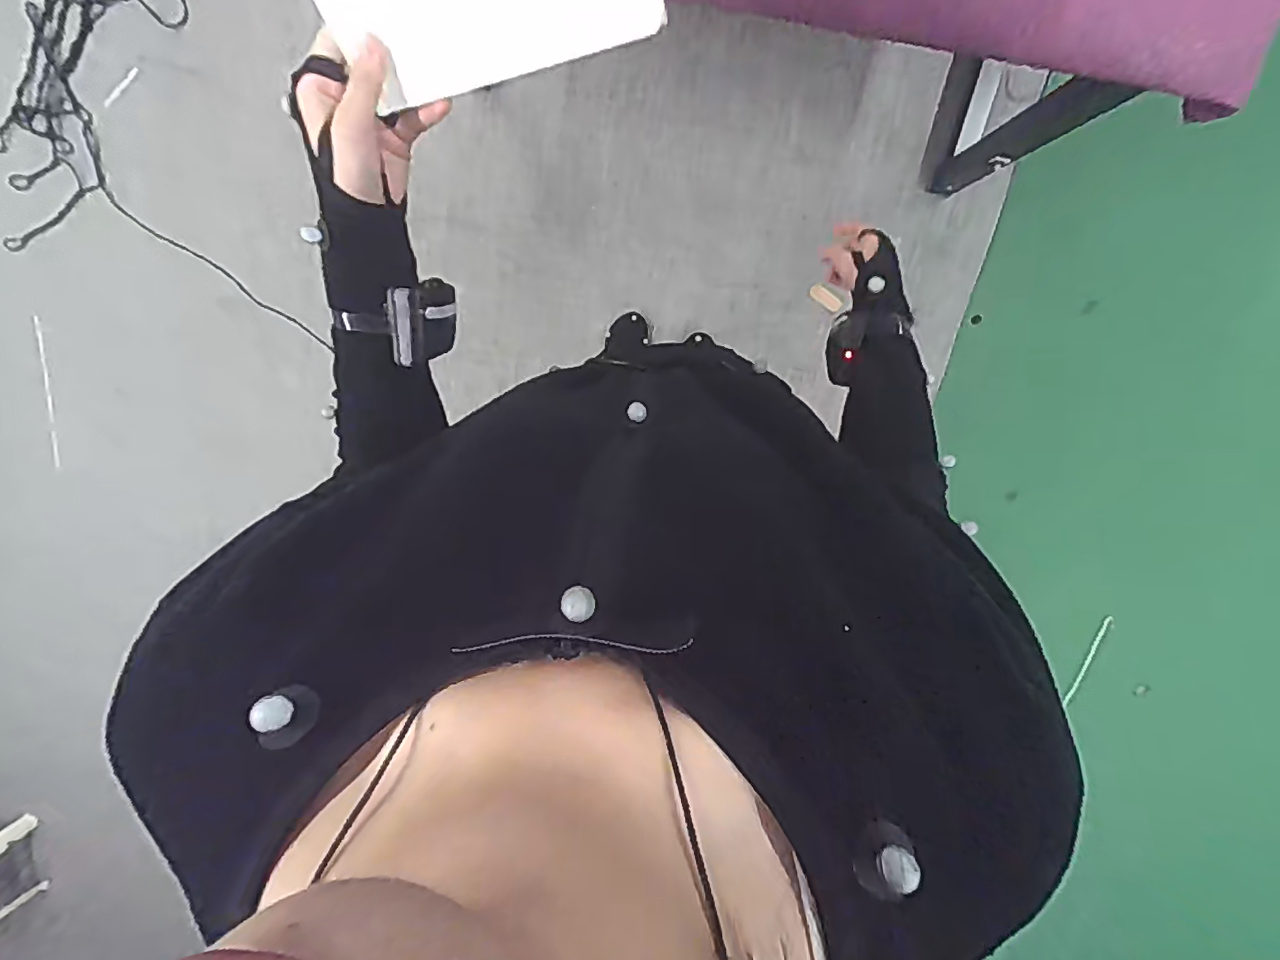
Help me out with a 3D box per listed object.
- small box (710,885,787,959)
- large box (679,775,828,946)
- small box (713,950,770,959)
[{"bbox_3d":[0.278,1.208,1.419,0.179,0.176,0.168,2,104,6],"label":"small box"},{"bbox_3d":[0.328,1.144,1.651,0.408,0.320,0.320,-2,106,5],"label":"large box"},{"bbox_3d":[0.252,1.254,1.263,0.168,0.176,0.179,4,104,5],"label":"small box"}]
